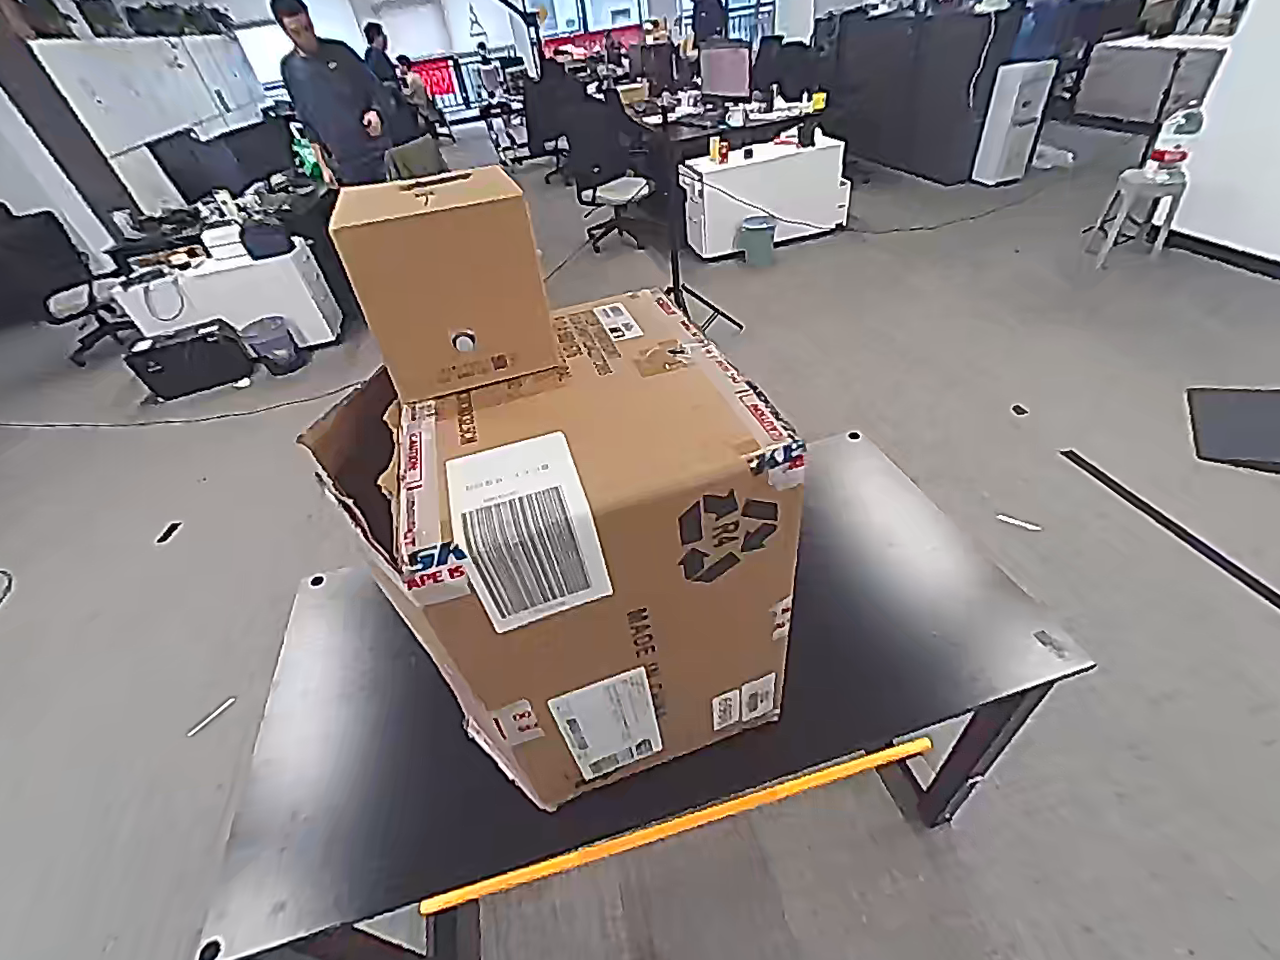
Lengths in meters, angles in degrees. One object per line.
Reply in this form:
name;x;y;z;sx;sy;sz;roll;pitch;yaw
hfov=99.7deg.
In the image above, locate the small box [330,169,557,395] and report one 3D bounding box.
small box;-0.196;-0.212;0.569;0.168;0.176;0.179;-17;40;-12
